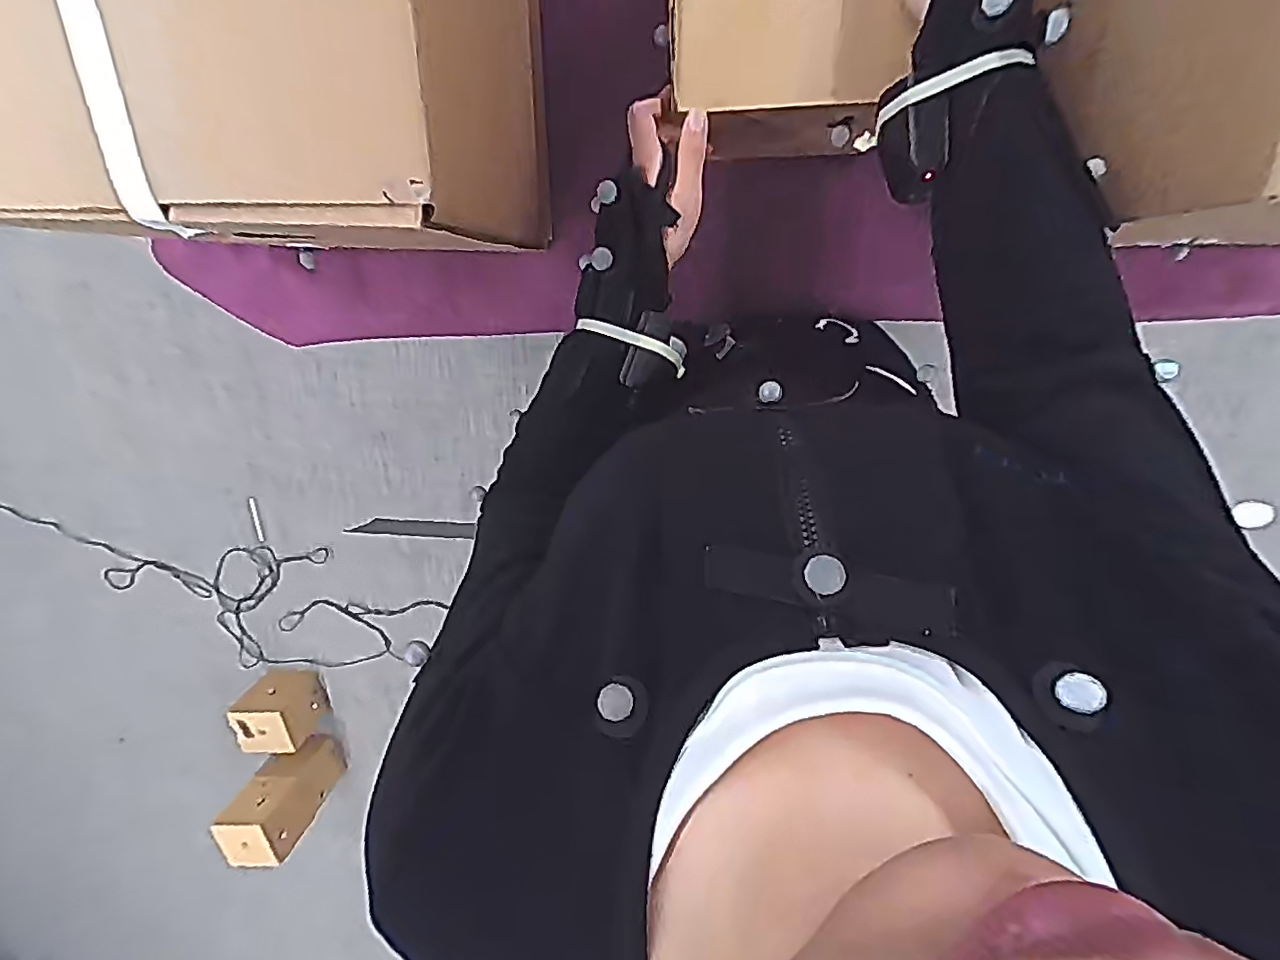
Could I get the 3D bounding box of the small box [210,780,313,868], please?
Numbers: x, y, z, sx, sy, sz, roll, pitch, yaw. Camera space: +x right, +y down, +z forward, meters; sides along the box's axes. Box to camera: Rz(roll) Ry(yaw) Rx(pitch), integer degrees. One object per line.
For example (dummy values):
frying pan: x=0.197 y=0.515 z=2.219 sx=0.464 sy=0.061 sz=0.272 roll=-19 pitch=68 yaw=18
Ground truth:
small box: x=-1.154 y=1.052 z=1.663 sx=0.168 sy=0.176 sz=0.179 roll=-5 pitch=111 yaw=7

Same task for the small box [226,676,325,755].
small box: x=-1.148 y=0.742 z=1.717 sx=0.179 sy=0.176 sz=0.168 roll=-2 pitch=111 yaw=5
